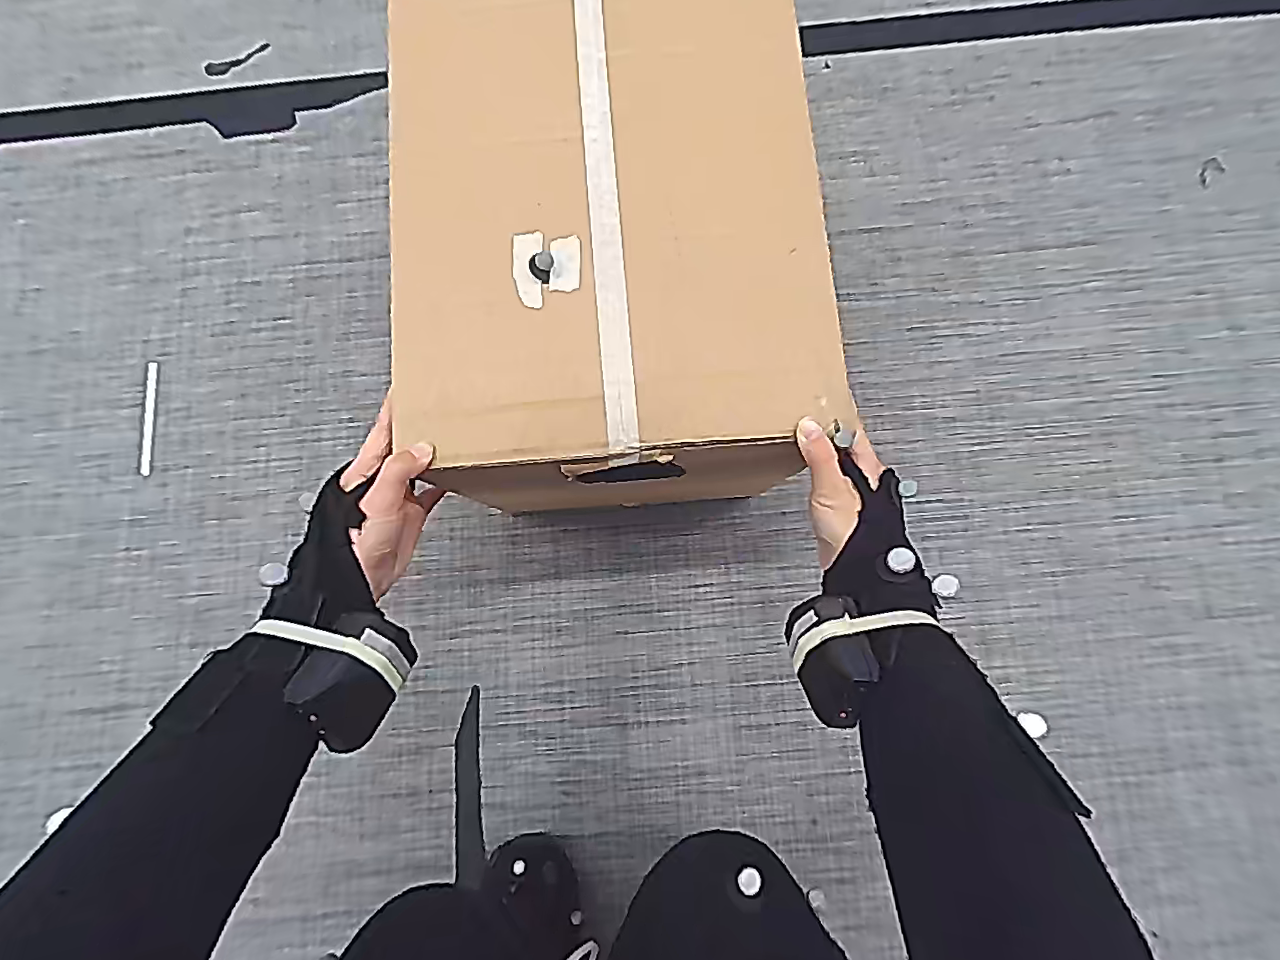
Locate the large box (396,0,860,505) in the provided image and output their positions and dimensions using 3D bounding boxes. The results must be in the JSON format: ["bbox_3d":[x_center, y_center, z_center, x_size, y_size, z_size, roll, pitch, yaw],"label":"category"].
[{"bbox_3d":[-0.020,-0.199,0.547,0.320,0.320,0.408,-5,82,0],"label":"large box"}]
